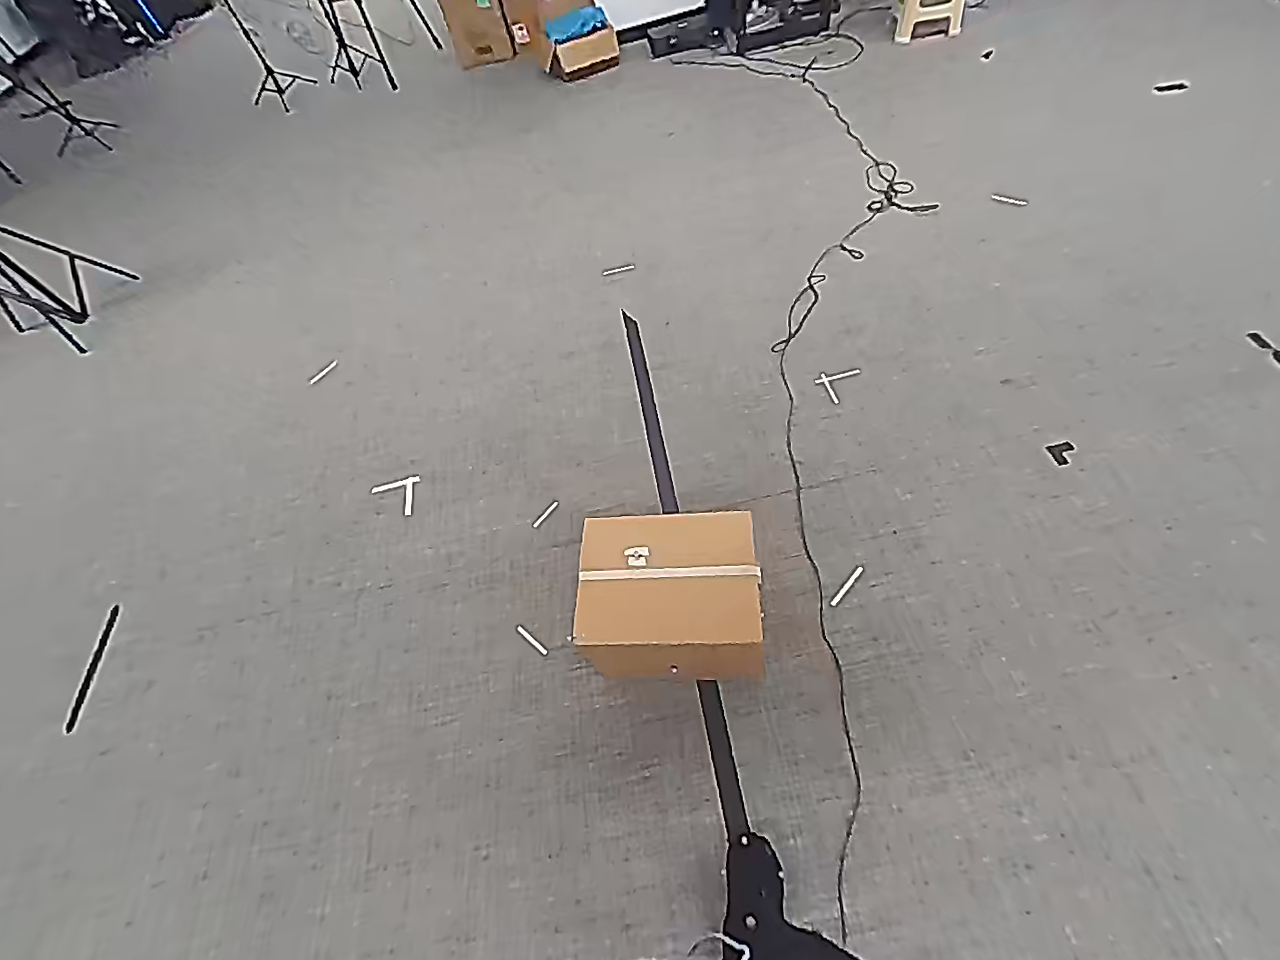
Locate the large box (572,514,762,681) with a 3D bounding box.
[{"bbox_3d":[0.082,0.302,1.328,0.408,0.320,0.320,-4,55,10],"label":"large box"}]
